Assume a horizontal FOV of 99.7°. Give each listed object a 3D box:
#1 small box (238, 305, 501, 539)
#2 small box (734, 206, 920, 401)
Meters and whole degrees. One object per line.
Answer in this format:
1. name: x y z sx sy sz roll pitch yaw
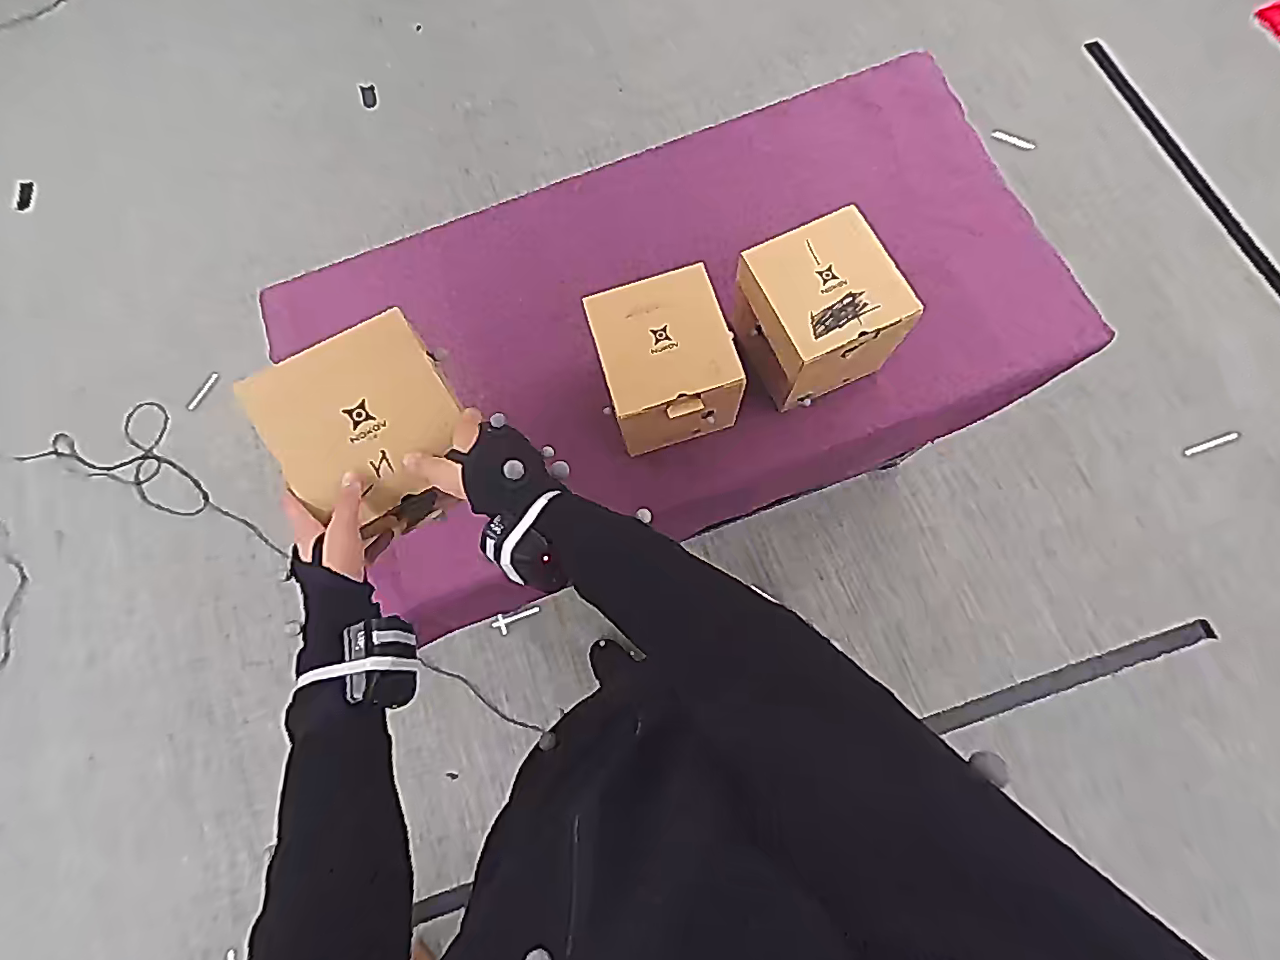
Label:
1. small box: -0.268 -0.048 0.583 0.168 0.176 0.179 -31 90 -10
2. small box: 0.243 -0.229 0.753 0.168 0.176 0.179 -24 75 -2
